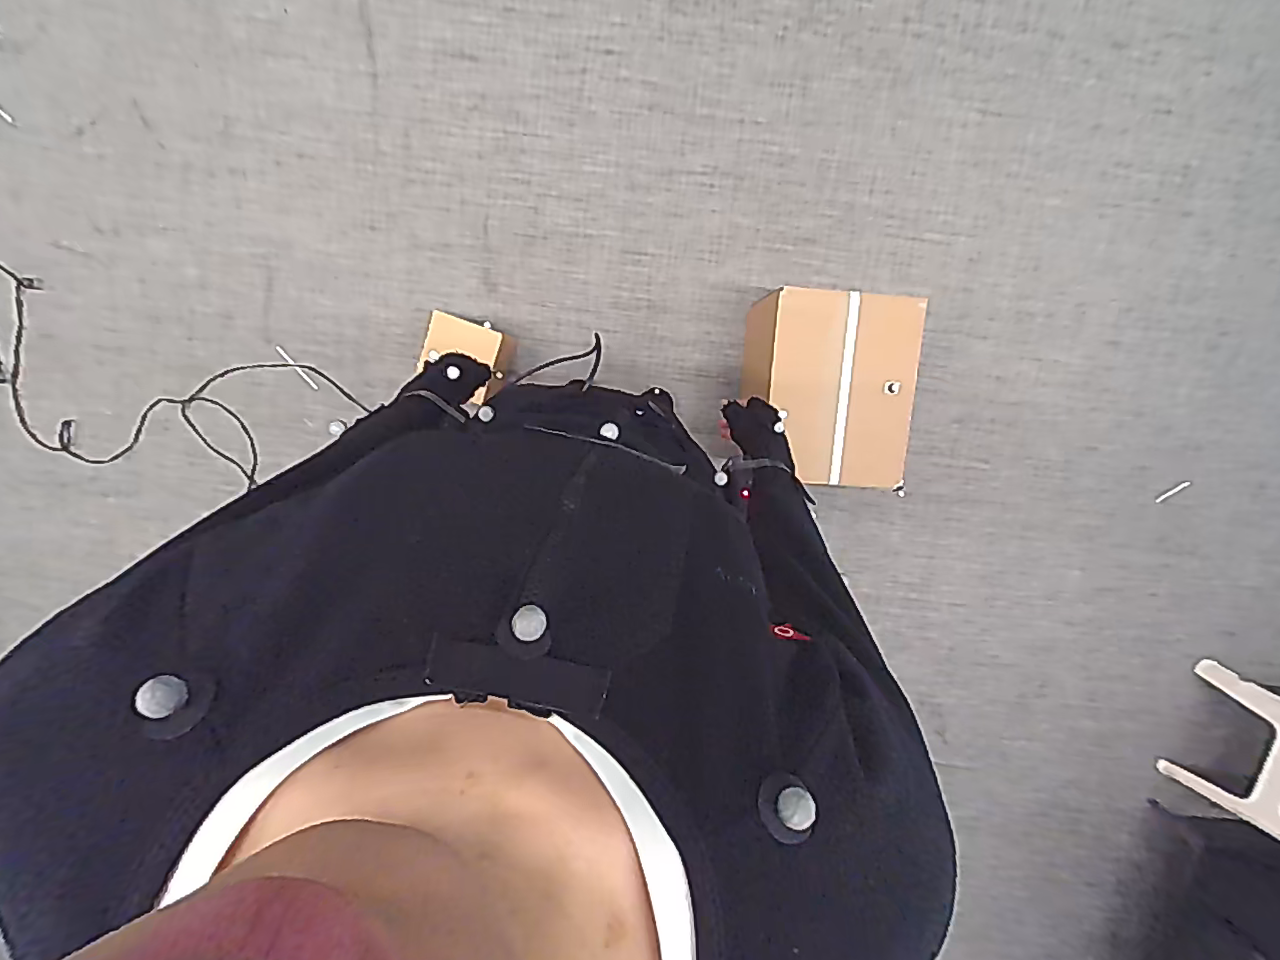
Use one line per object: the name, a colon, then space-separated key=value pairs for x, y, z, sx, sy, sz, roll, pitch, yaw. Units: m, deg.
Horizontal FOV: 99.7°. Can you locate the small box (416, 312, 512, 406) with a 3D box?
small box: x=-0.426 y=-0.297 z=1.340 sx=0.168 sy=0.176 sz=0.179 roll=18 pitch=100 yaw=-5
